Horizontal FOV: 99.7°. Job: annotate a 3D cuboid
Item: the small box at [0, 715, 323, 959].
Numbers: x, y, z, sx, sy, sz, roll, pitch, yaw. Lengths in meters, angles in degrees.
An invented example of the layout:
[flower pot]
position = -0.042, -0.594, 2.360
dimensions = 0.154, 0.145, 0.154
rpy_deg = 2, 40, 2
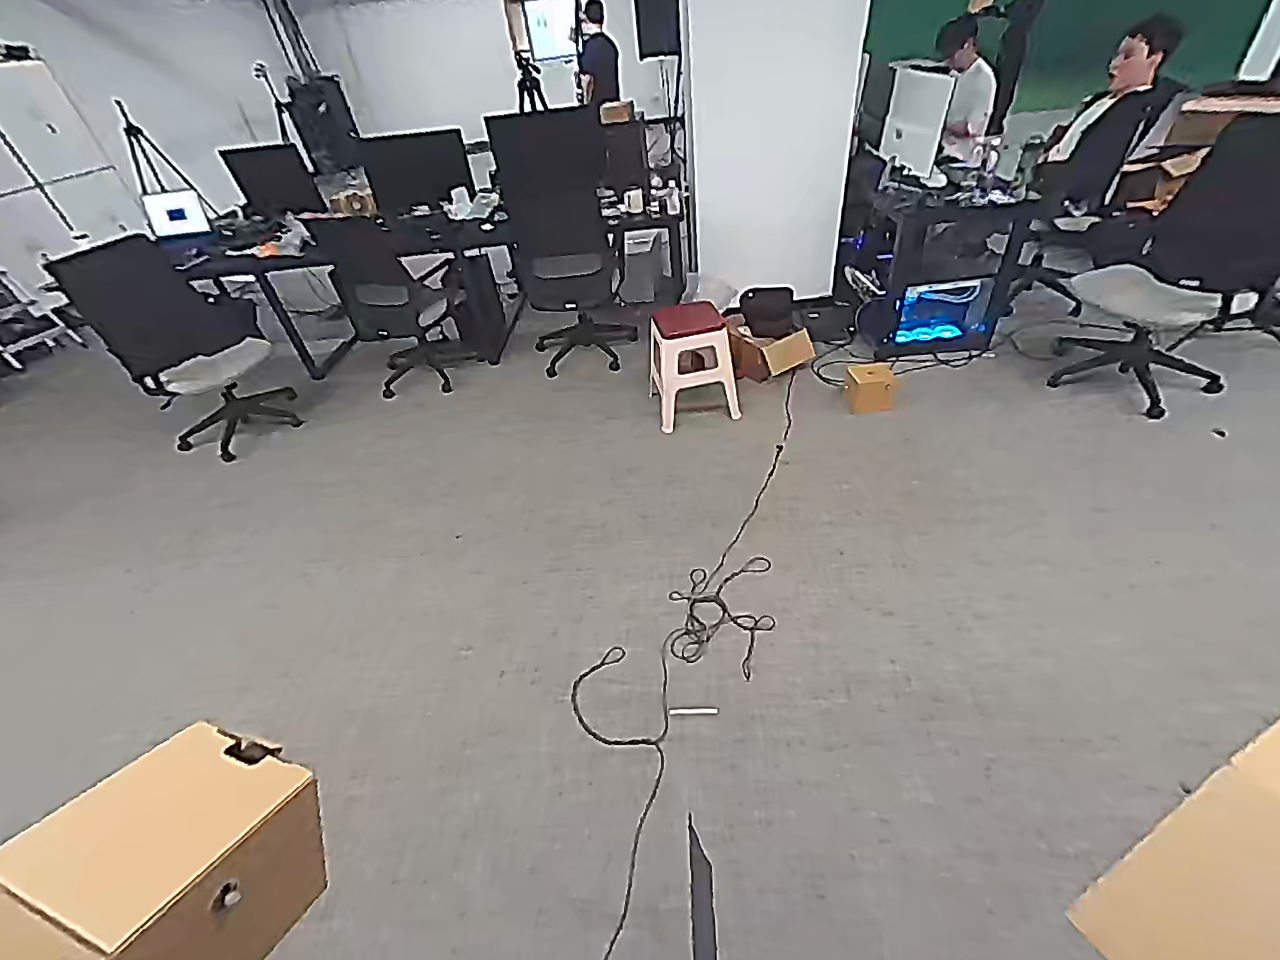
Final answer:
[small box]
position = -0.435, 0.373, 0.517
dimensions = 0.168, 0.176, 0.179
rpy_deg = 14, 20, 16
